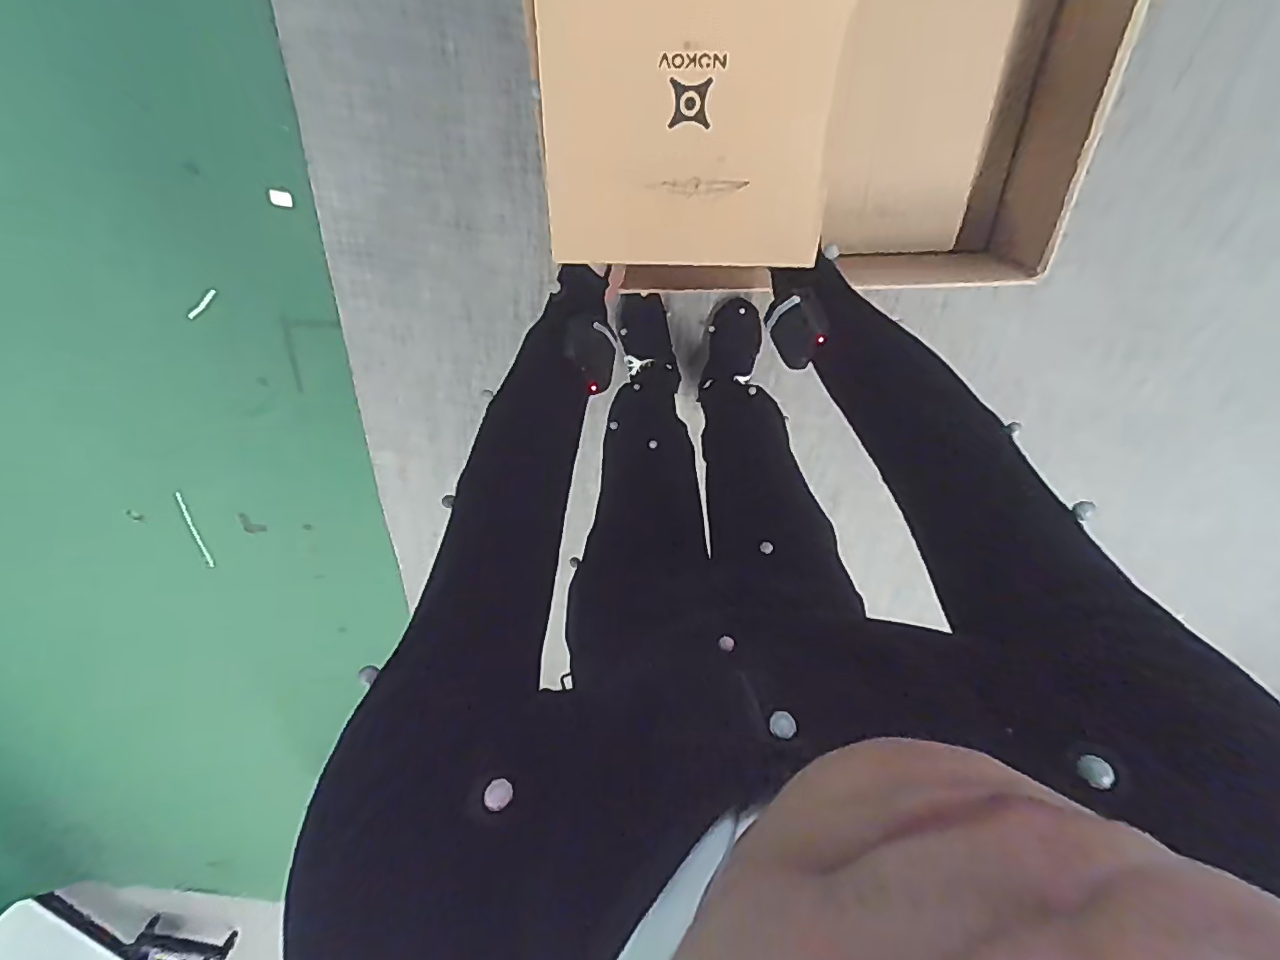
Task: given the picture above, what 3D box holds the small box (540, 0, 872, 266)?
[{"bbox_3d":[0.034,-0.246,0.350,0.168,0.176,0.179,2,121,2],"label":"small box"}]
